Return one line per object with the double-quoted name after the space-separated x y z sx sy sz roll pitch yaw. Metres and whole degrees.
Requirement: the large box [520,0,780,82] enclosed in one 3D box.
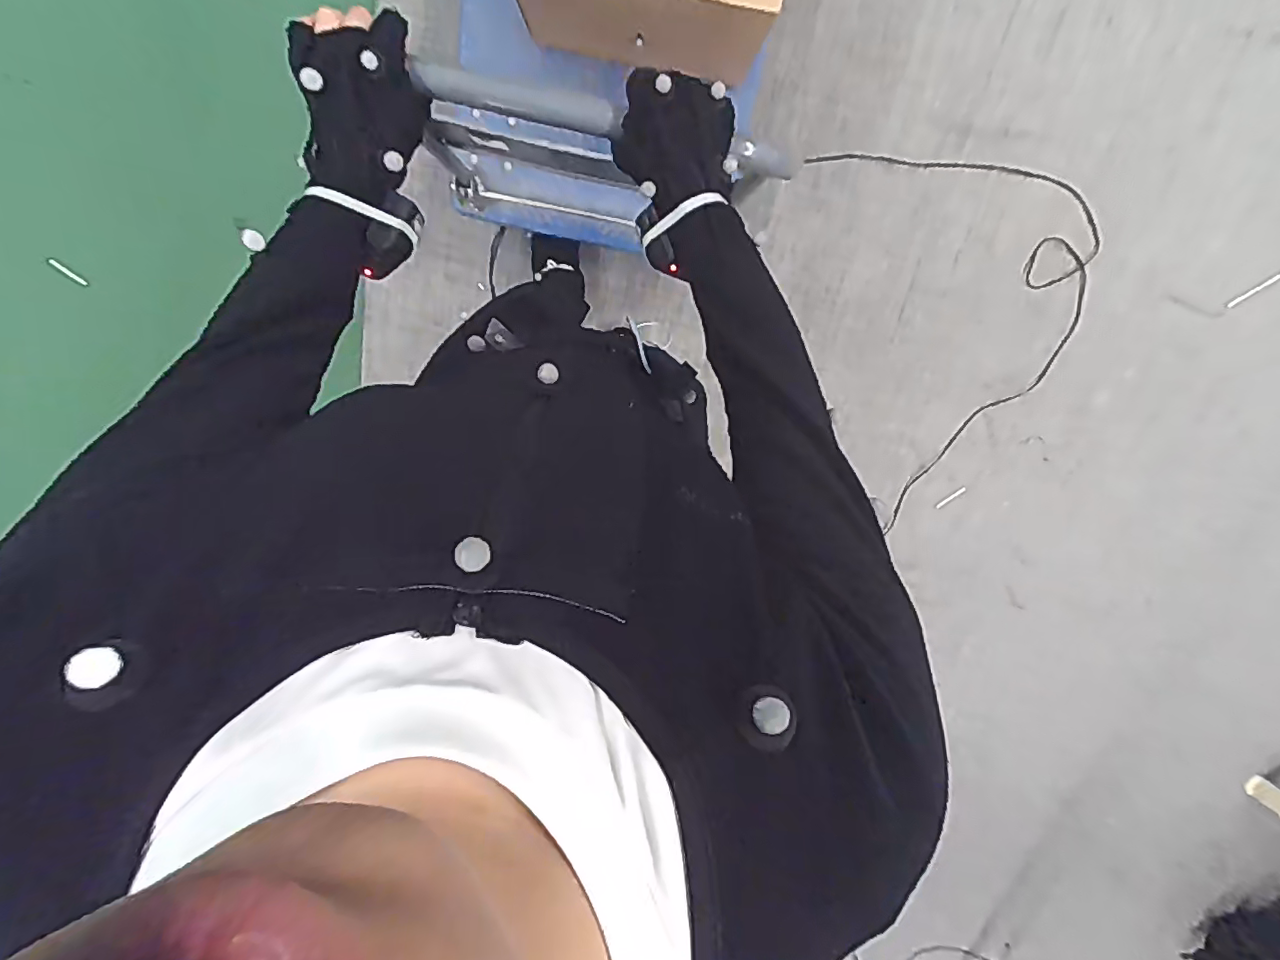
0.028 -0.891 0.860 0.408 0.320 0.320 9 110 -3 "large box"
